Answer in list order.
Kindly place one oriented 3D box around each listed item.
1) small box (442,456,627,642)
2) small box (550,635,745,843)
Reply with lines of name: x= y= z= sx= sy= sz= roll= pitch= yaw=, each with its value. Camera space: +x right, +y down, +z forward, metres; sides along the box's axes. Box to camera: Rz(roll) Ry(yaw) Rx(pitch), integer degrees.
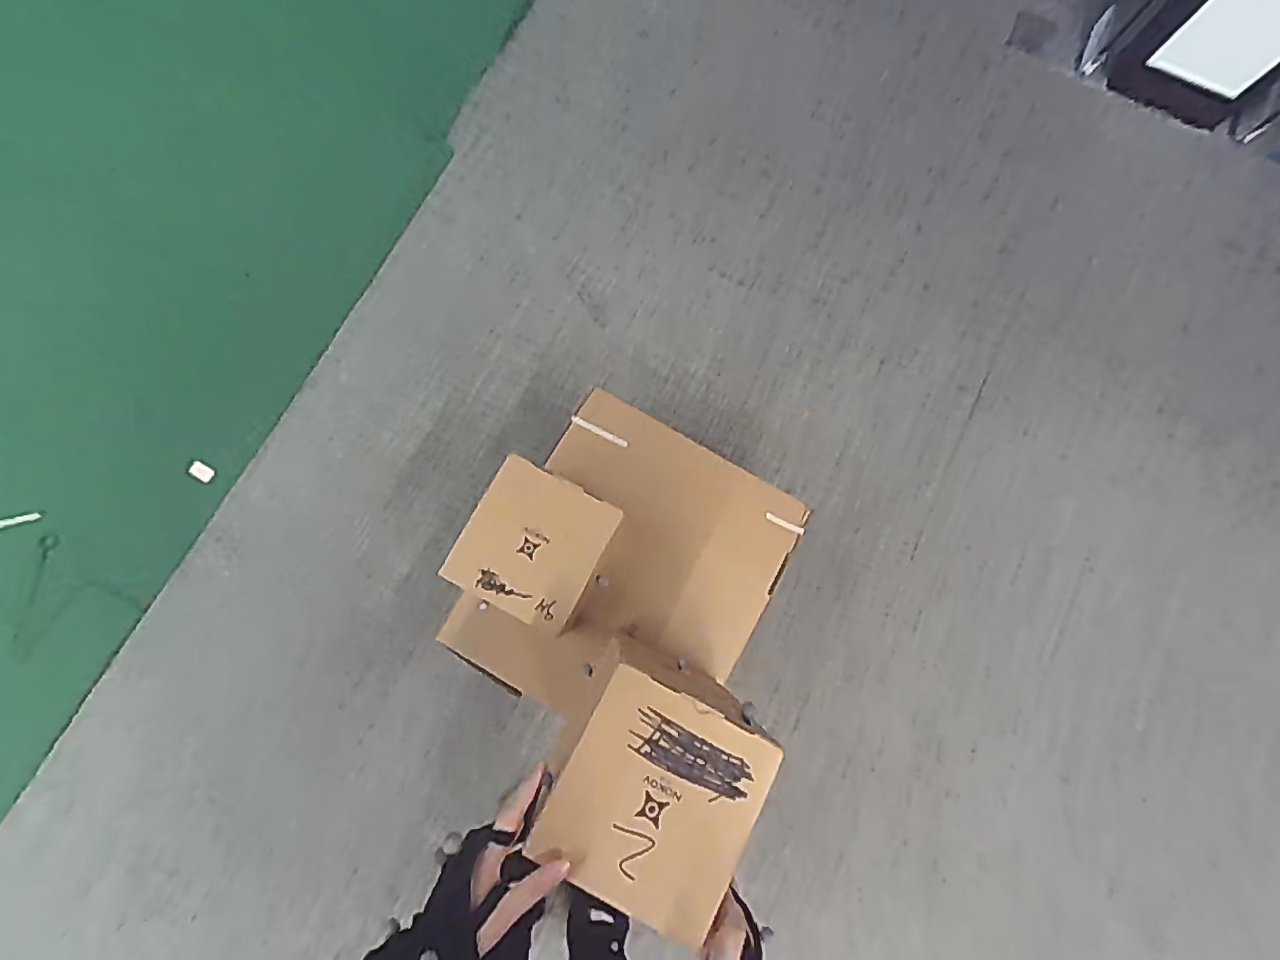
small box: x=-0.133 y=0.097 z=0.735 sx=0.168 sy=0.176 sz=0.179 roll=28 pitch=77 yaw=3
small box: x=0.007 y=0.312 z=0.698 sx=0.179 sy=0.176 sz=0.168 roll=27 pitch=78 yaw=3
